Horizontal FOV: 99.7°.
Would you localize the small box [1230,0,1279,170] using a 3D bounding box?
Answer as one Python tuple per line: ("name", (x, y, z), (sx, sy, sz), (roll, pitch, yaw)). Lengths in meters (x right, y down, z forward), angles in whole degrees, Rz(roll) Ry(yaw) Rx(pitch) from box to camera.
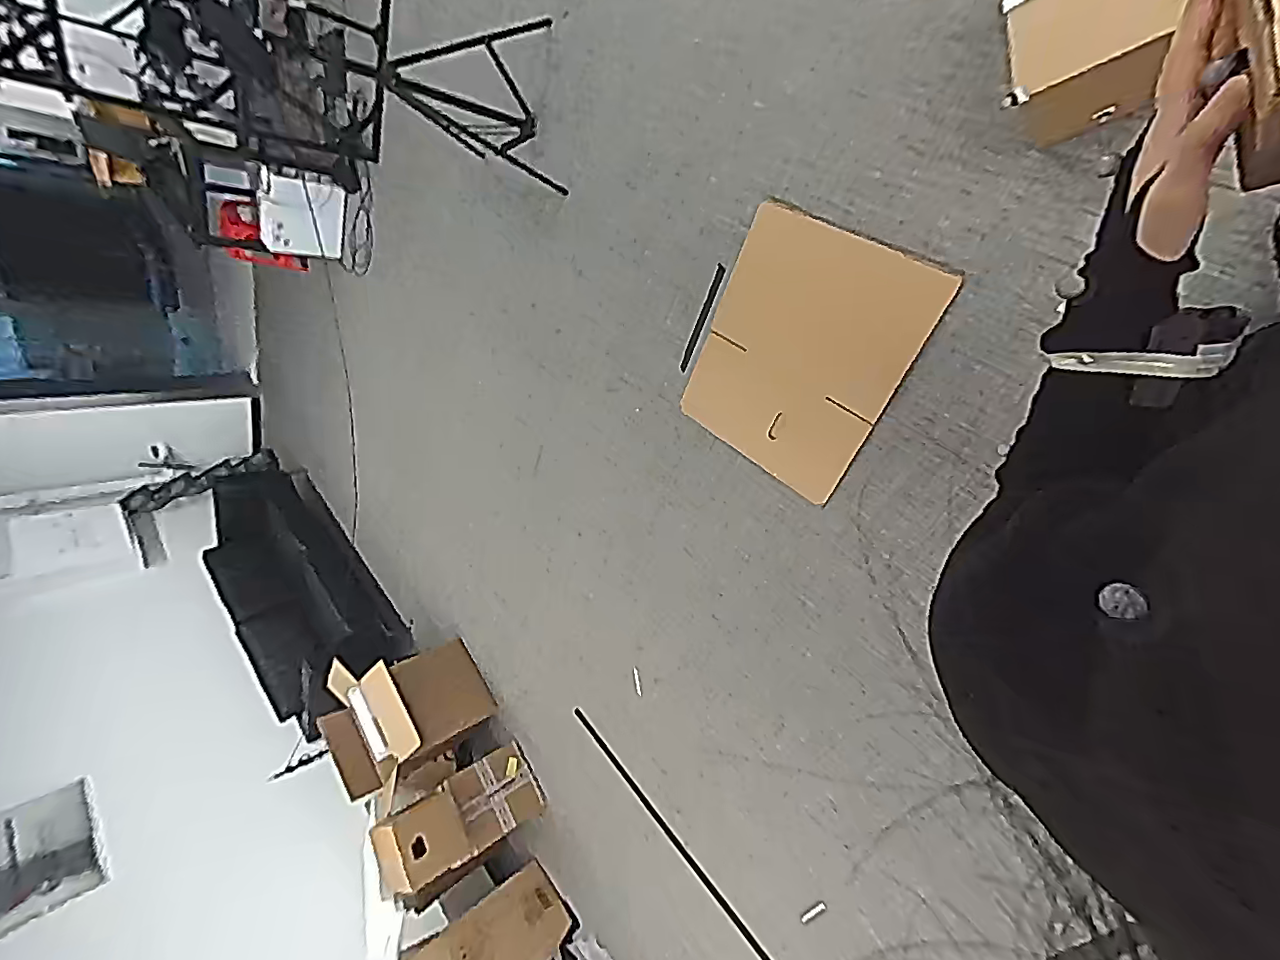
("small box", (0.358, -0.254, 0.208), (0.179, 0.176, 0.168), (-6, 94, 46))
